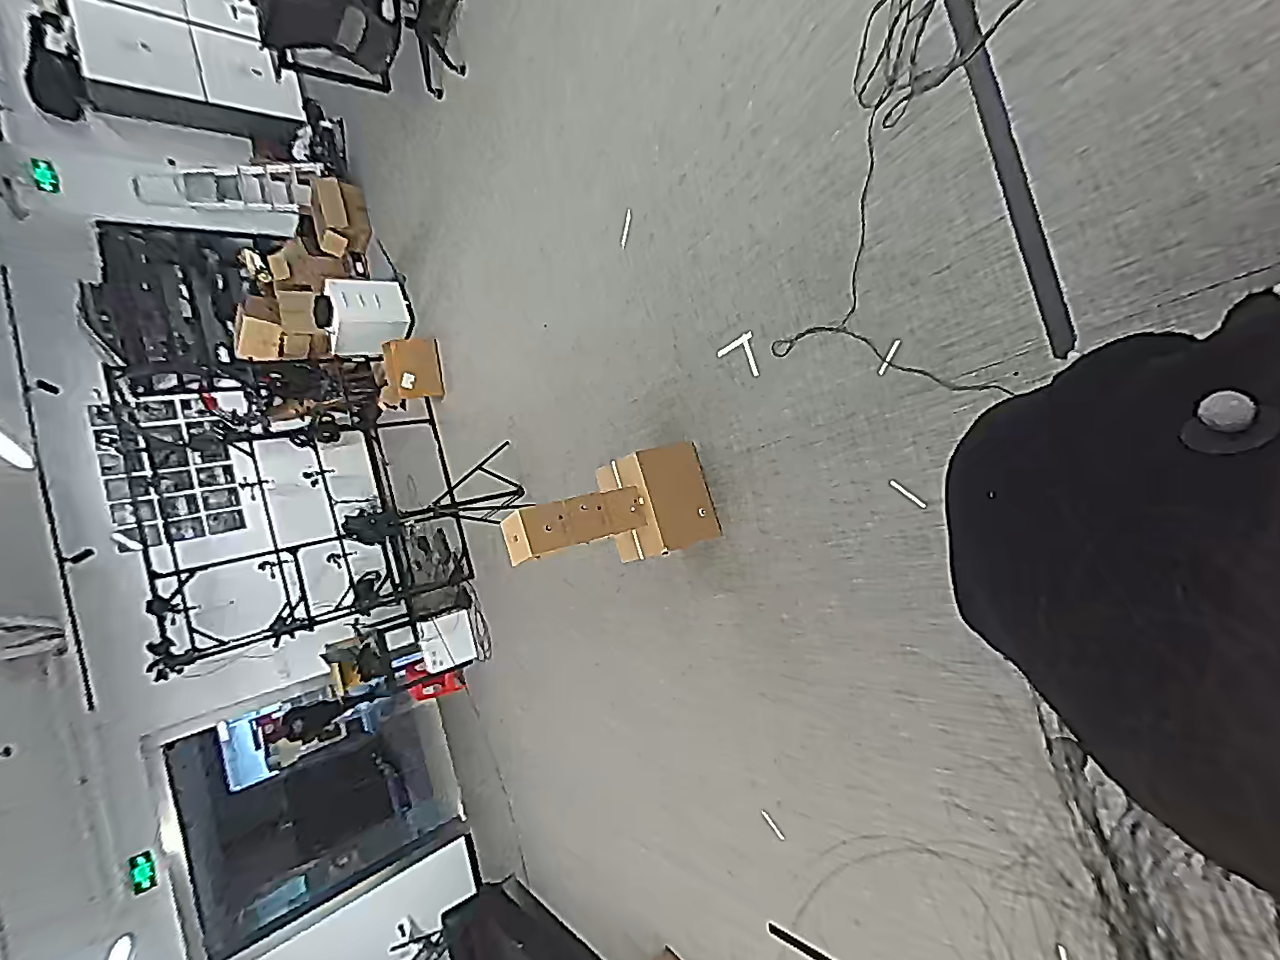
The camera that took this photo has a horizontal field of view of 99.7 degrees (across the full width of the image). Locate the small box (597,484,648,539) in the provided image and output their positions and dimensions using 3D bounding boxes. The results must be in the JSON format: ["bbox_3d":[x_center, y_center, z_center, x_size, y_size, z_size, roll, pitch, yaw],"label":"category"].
[{"bbox_3d":[-0.098,0.124,2.086,0.179,0.176,0.168,-24,82,51],"label":"small box"}]

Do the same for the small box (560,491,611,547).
[{"bbox_3d":[-0.222,0.147,1.984,0.179,0.176,0.168,-26,78,53],"label":"small box"}]

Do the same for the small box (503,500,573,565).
[{"bbox_3d":[-0.351,0.180,1.886,0.179,0.176,0.168,-32,73,50],"label":"small box"}]
